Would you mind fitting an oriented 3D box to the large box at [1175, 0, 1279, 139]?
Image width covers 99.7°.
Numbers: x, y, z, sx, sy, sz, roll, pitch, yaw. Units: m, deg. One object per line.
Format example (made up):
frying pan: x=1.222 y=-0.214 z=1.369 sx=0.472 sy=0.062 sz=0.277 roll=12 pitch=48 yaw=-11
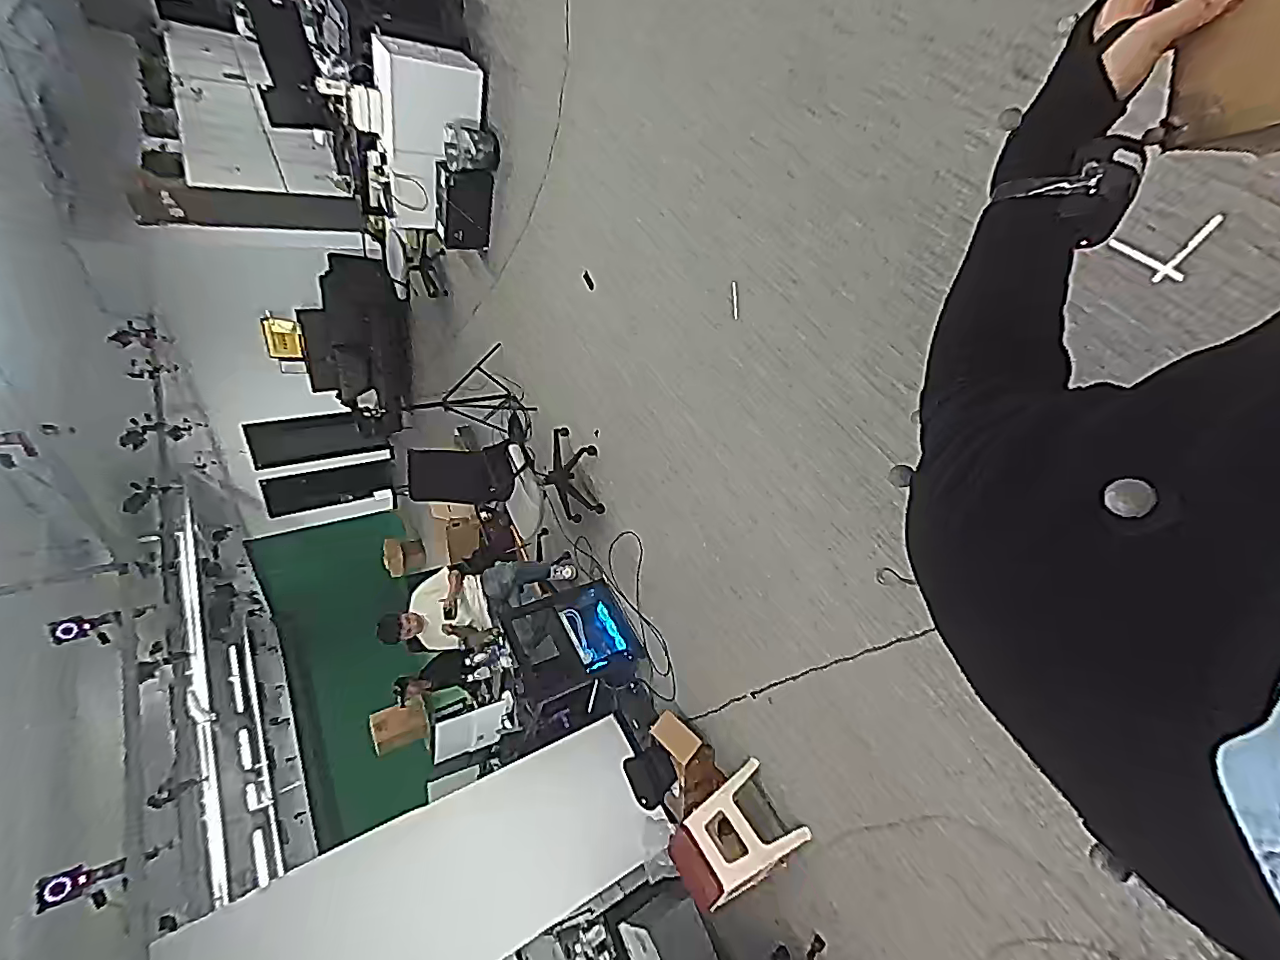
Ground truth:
large box: x=0.611 y=-0.414 z=0.274 sx=0.408 sy=0.320 sz=0.320 roll=17 pitch=120 yaw=56
